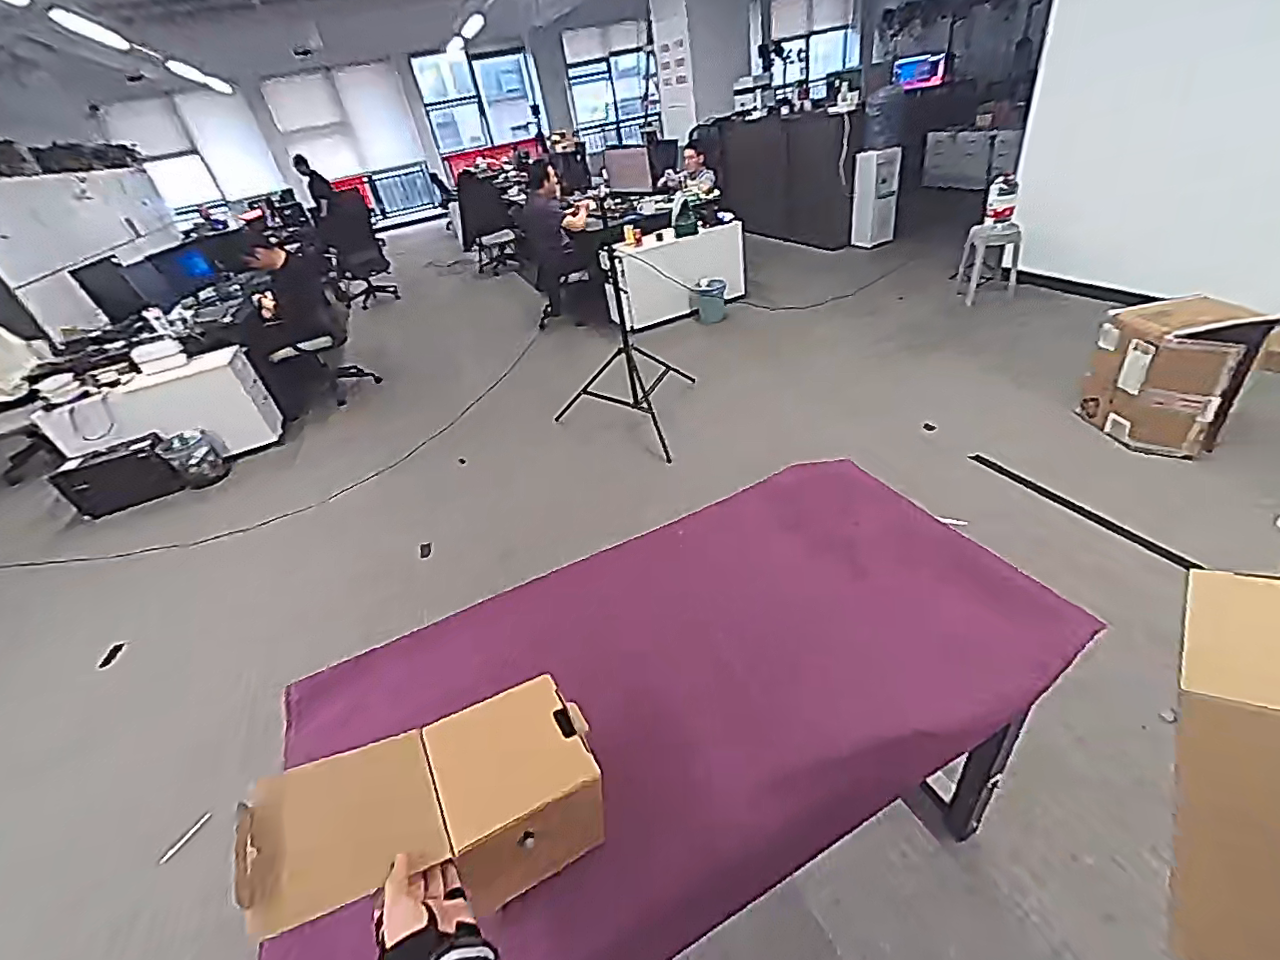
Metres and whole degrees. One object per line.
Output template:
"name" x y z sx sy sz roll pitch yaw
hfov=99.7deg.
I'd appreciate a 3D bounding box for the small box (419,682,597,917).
"small box" -0.165 0.401 0.689 0.179 0.176 0.168 -13 37 -26
